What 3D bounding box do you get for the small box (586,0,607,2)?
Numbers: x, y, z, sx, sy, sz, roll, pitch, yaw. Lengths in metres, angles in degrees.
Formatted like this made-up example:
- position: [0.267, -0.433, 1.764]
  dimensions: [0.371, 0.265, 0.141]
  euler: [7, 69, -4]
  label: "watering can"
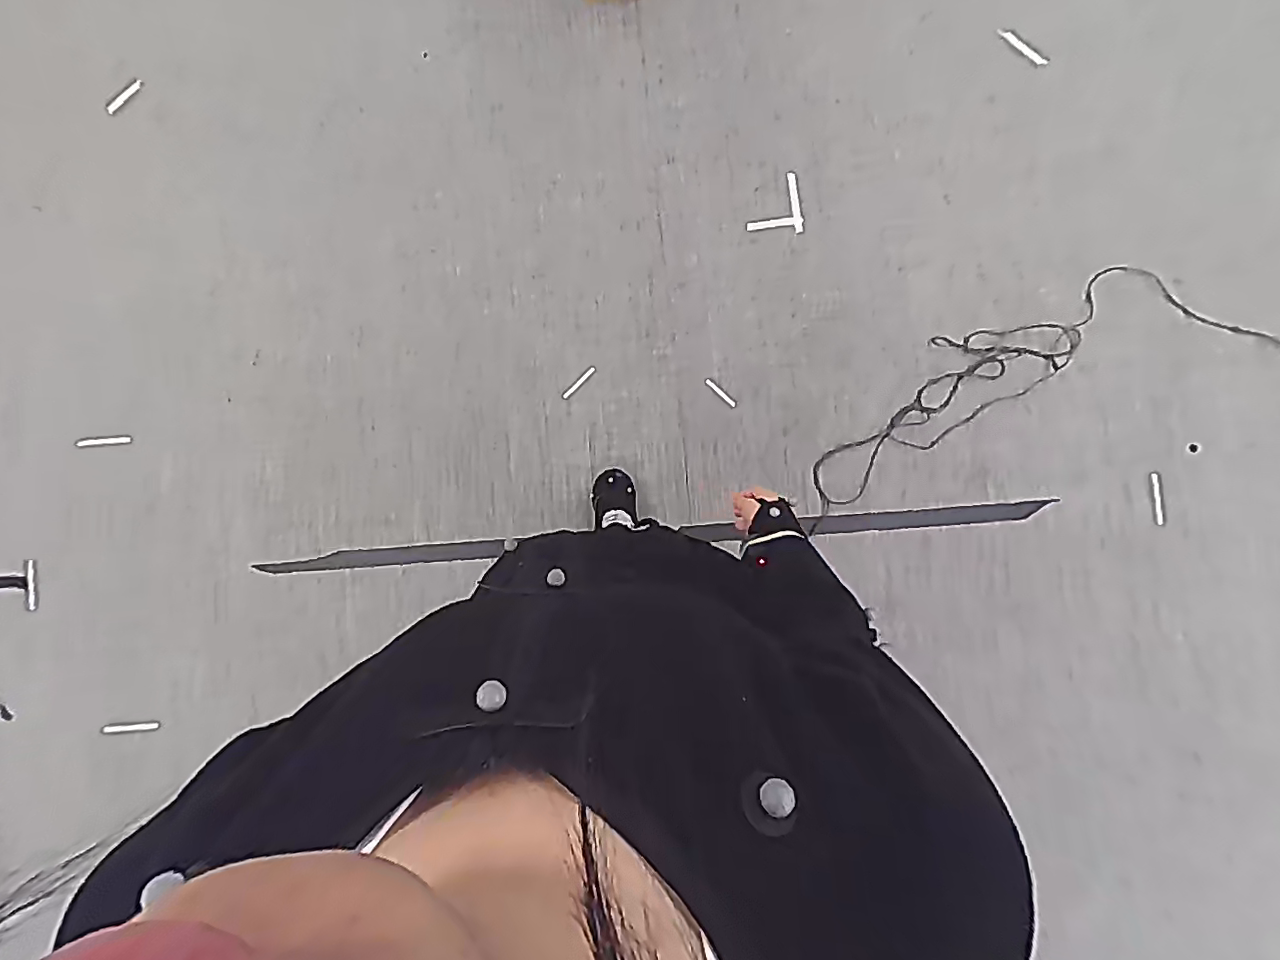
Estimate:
- position: [-0.081, -1.478, 1.495]
  dimensions: [0.179, 0.176, 0.168]
  euler: [-5, 88, 1]
  label: "small box"
